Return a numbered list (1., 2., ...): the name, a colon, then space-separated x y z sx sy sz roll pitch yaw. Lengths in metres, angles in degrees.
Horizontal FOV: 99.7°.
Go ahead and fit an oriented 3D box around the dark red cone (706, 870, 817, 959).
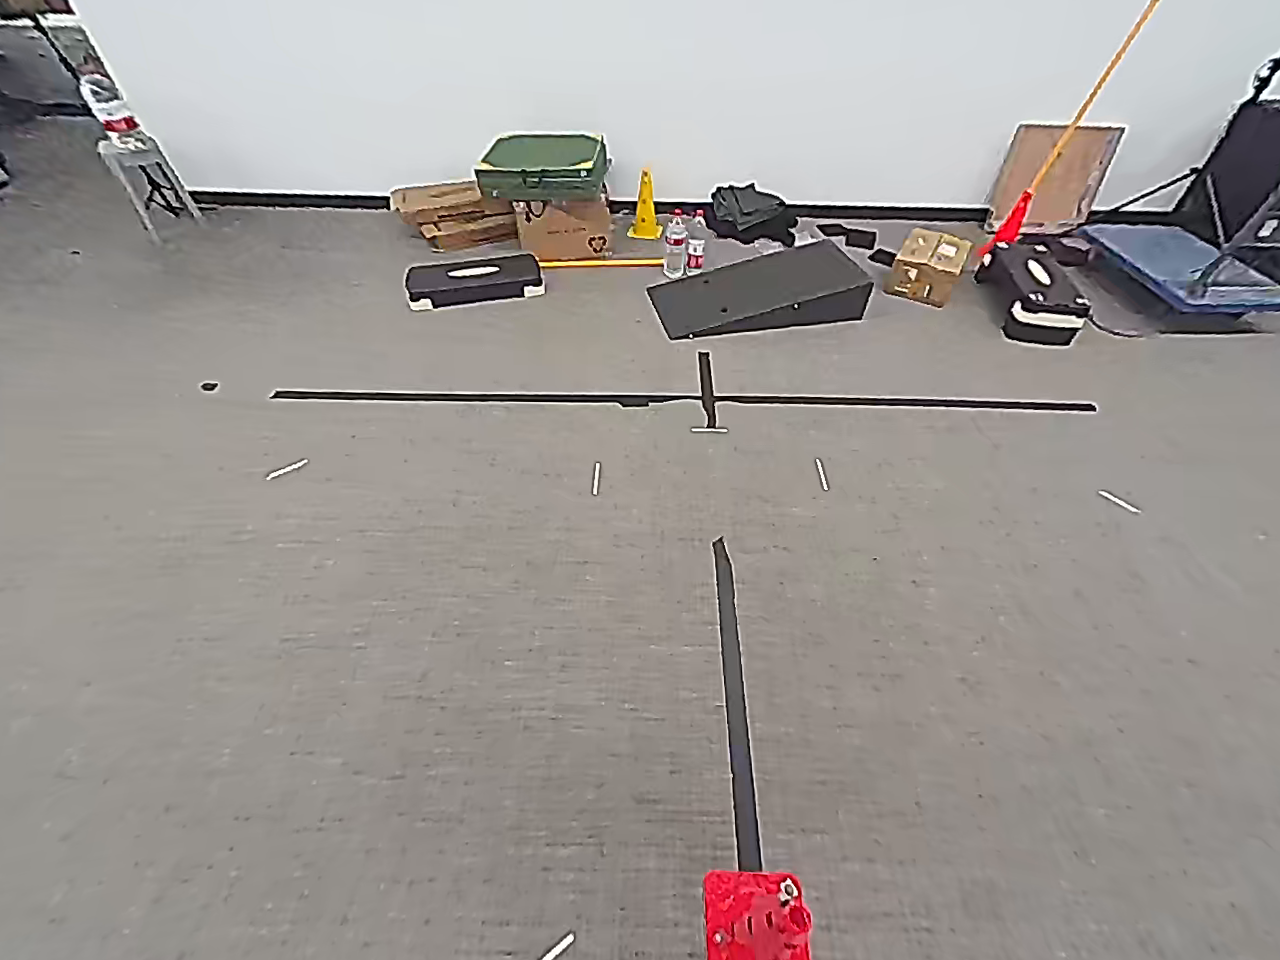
1. dark red cone: 0.230 0.756 0.909 0.201 0.394 0.202 1 47 0
